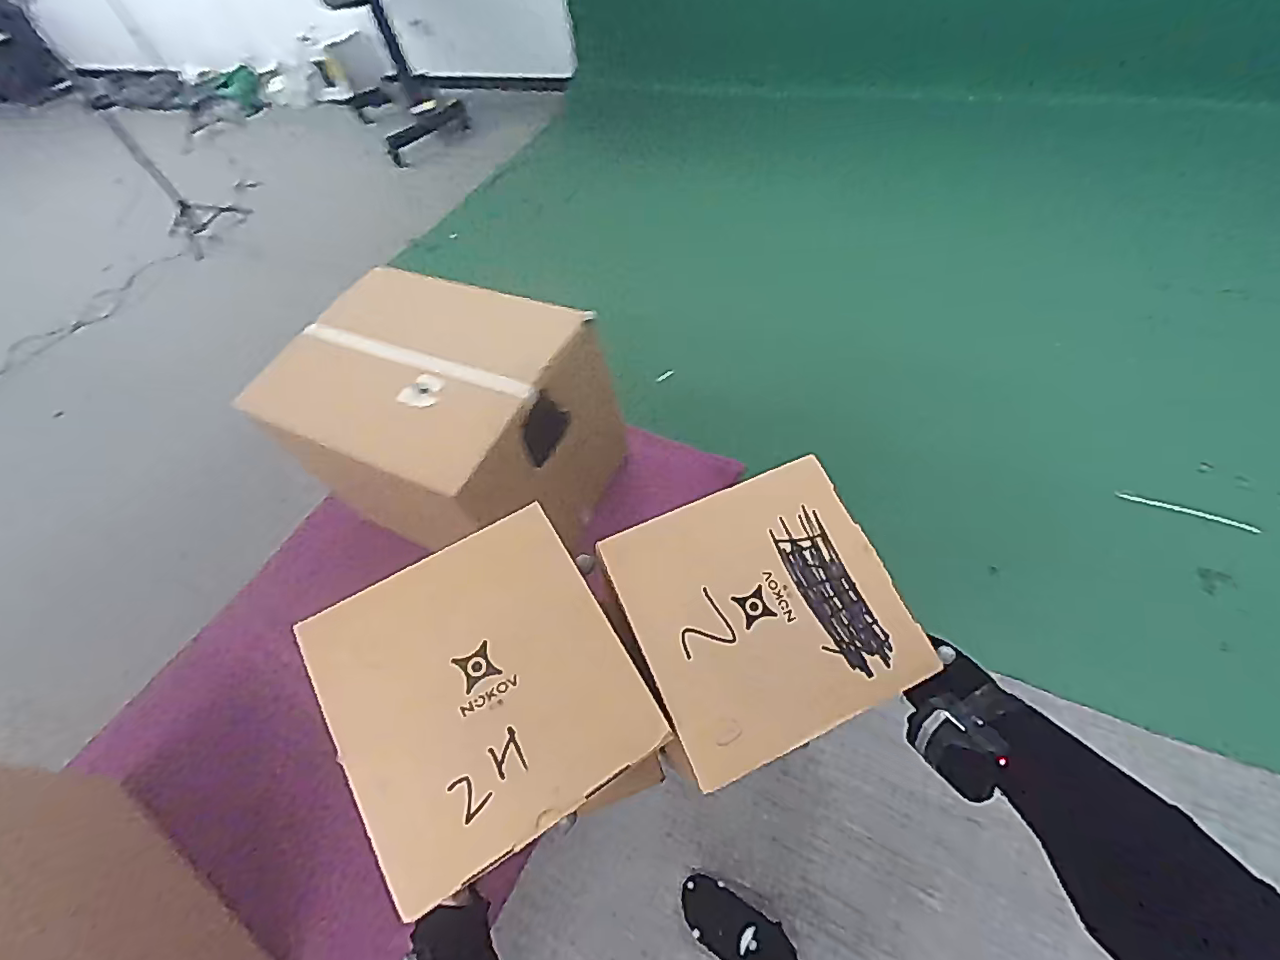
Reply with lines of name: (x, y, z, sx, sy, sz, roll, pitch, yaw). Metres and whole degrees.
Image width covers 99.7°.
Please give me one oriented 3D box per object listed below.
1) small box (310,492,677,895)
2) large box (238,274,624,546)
small box: (-0.096, 0.143, 0.393, 0.168, 0.176, 0.179, -27, 70, -16)
large box: (-0.287, -0.075, 0.854, 0.408, 0.320, 0.320, 18, 62, 20)
